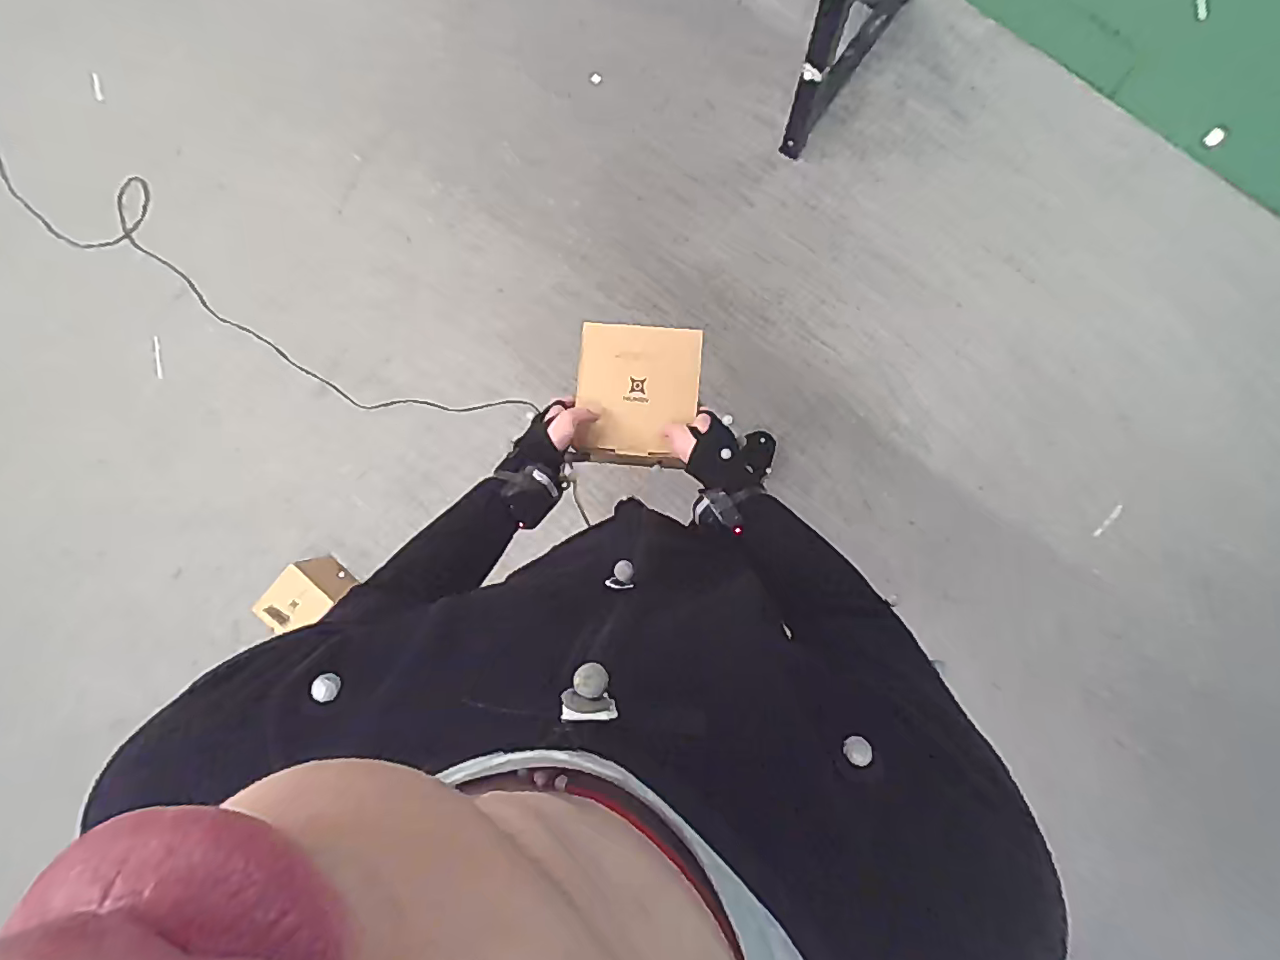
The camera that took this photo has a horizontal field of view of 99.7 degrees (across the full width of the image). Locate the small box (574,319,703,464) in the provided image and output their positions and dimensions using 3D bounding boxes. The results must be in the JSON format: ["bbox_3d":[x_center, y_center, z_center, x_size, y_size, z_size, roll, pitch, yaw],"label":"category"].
[{"bbox_3d":[0.001,-0.122,0.808,0.168,0.176,0.179,4,84,1],"label":"small box"}]

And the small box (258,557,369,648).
[{"bbox_3d":[-0.923,0.342,1.546,0.168,0.176,0.179,42,91,3],"label":"small box"}]
